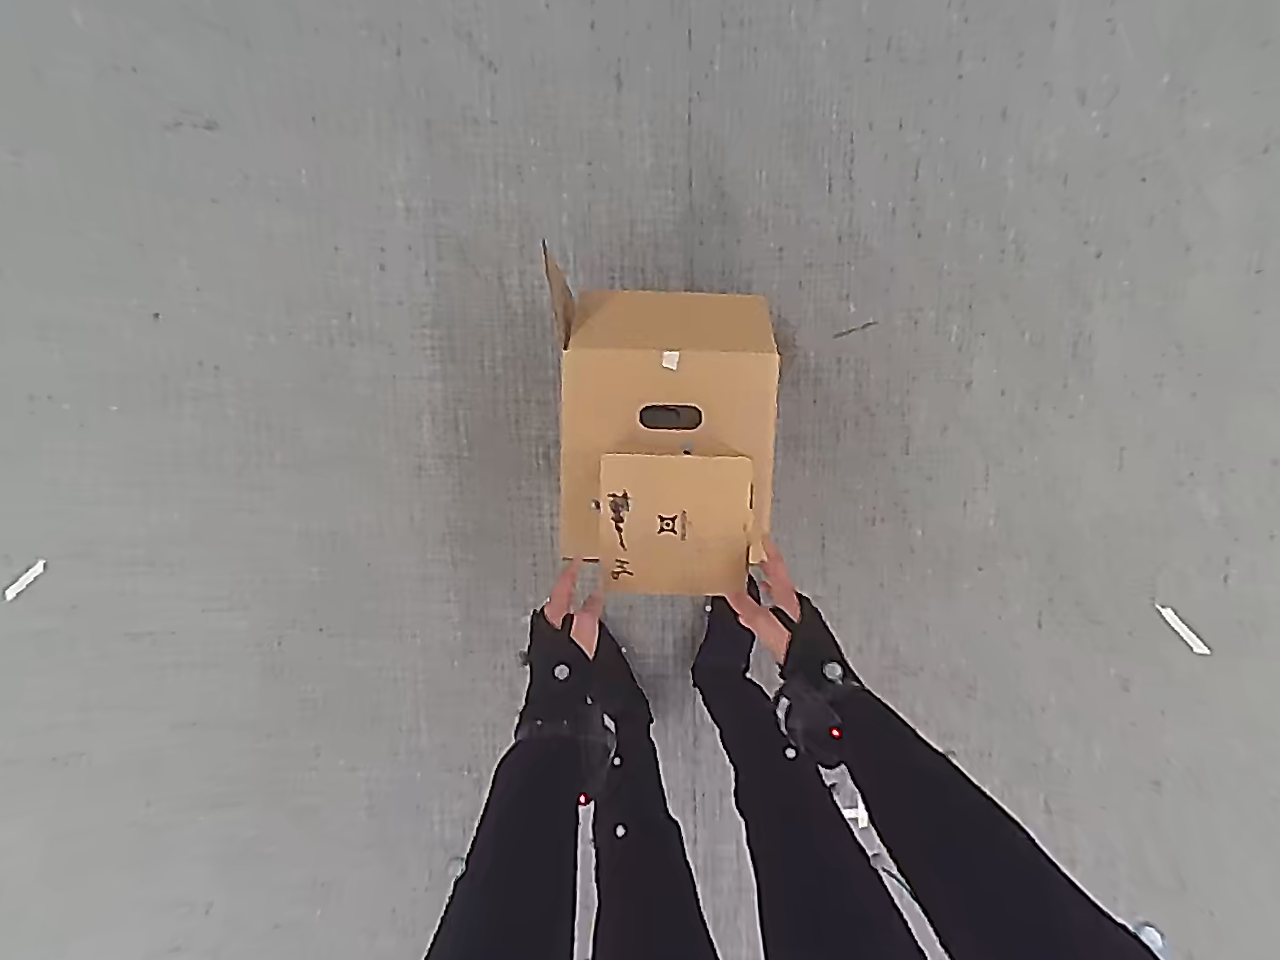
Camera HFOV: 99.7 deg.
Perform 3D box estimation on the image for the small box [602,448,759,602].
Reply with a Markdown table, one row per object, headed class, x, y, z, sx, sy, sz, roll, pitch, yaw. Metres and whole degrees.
| class | x | y | z | sx | sy | sz | roll | pitch | yaw |
| --- | --- | --- | --- | --- | --- | --- | --- | --- | --- |
| small box | 0.045 | 0.047 | 0.696 | 0.179 | 0.176 | 0.168 | 2 | 97 | 0 |
